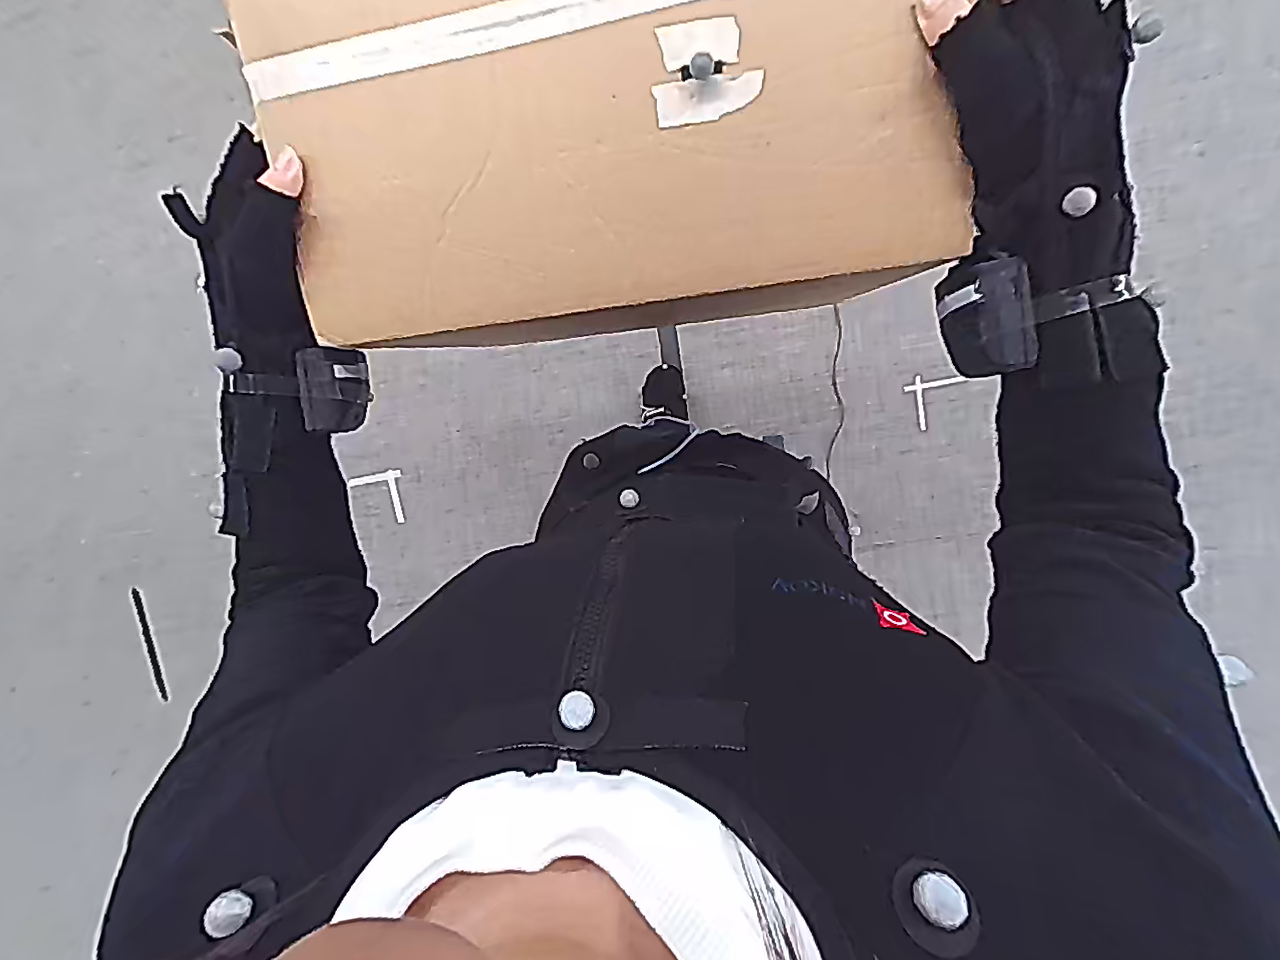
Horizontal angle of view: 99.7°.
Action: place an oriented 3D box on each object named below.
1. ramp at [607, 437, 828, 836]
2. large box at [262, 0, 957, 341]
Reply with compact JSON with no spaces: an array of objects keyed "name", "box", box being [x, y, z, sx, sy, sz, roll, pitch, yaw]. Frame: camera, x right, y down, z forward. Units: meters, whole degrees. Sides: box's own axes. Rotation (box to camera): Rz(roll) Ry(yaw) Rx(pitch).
[{"name":"ramp","box":[0.183,0.402,1.413,0.509,0.206,0.991,-7,95,11]},{"name":"large box","box":[-0.015,-0.303,0.455,0.408,0.320,0.320,-6,104,9]}]
